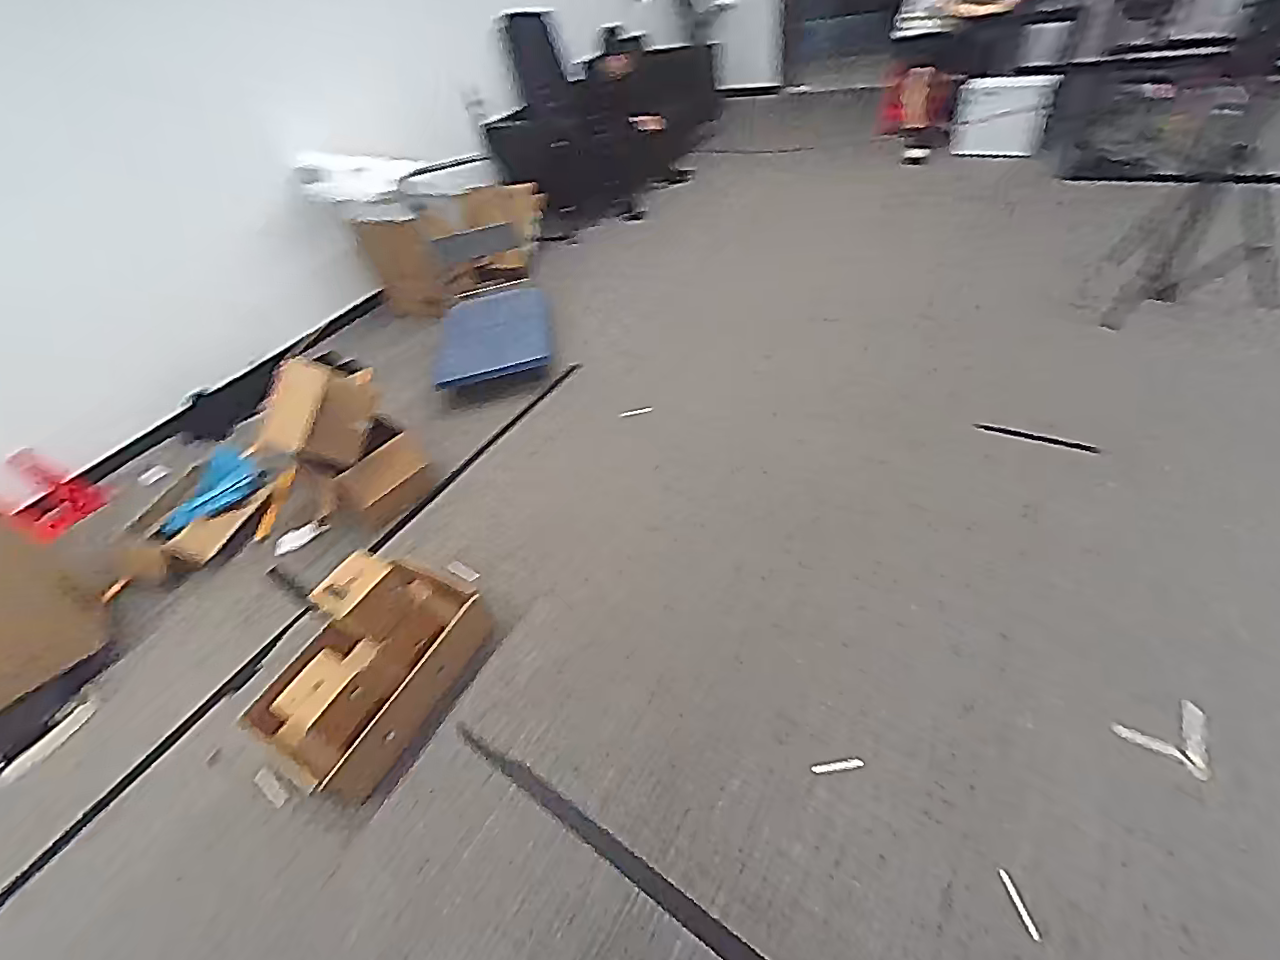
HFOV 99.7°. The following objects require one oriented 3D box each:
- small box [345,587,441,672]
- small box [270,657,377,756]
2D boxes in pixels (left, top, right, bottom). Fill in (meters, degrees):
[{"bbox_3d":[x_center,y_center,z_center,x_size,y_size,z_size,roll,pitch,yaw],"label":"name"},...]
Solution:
[{"bbox_3d":[-0.761,0.468,1.682,0.179,0.176,0.168,15,52,26],"label":"small box"},{"bbox_3d":[-0.882,0.644,1.534,0.168,0.176,0.179,12,49,26],"label":"small box"}]
